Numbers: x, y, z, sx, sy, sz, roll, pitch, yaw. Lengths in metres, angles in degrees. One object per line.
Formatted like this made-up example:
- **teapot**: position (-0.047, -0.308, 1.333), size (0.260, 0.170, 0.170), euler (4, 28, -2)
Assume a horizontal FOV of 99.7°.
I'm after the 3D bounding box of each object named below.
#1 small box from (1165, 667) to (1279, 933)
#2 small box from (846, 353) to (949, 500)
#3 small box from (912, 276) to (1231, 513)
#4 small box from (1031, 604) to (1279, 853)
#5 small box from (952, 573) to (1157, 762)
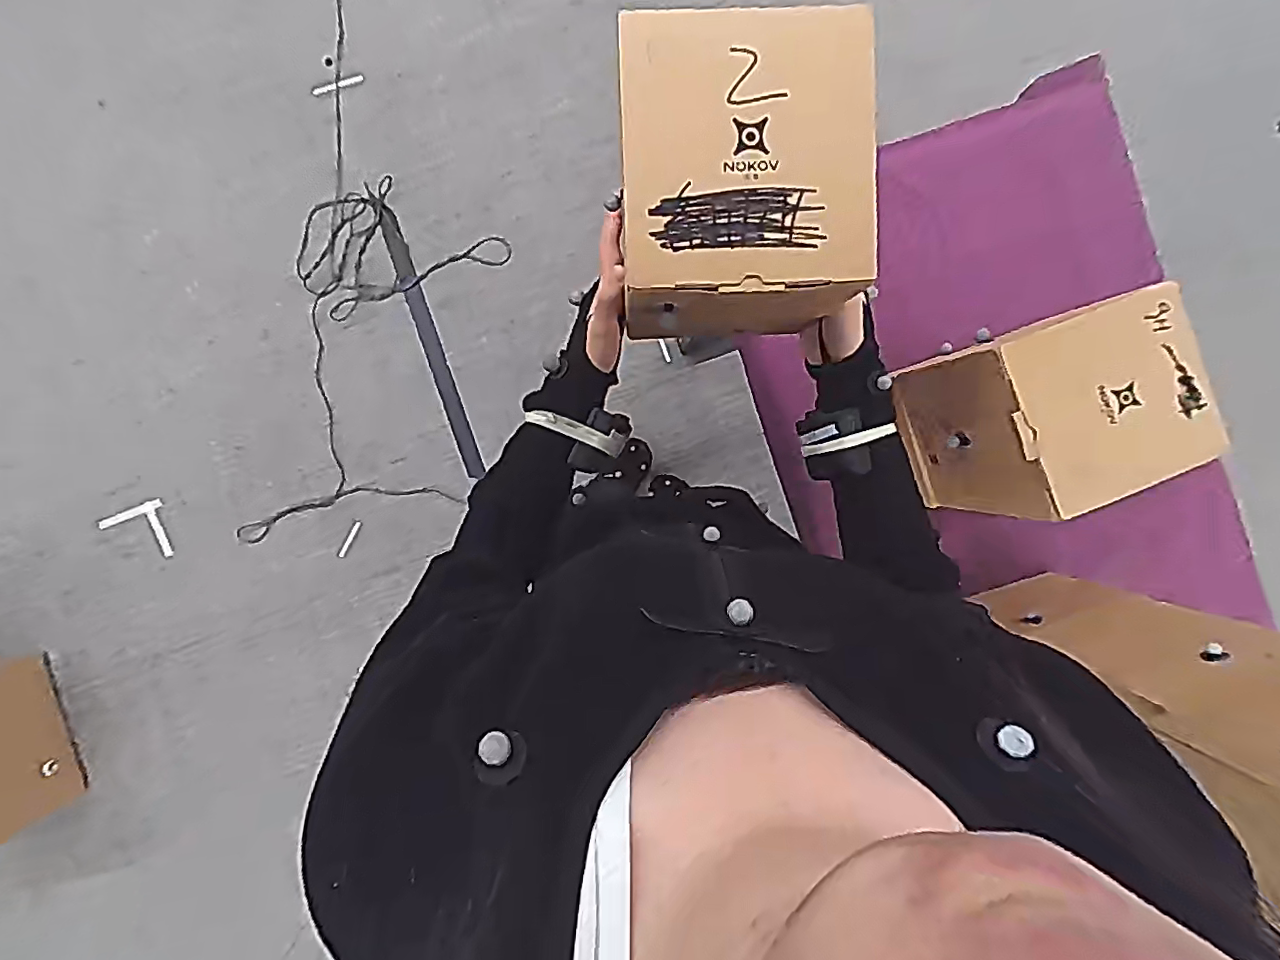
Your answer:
- **small box**: position (0.557, 0.260, 0.406), size (0.179, 0.176, 0.168), euler (-20, 93, -2)
- **small box**: position (0.396, -0.078, 0.715), size (0.179, 0.176, 0.168), euler (-18, 93, -3)
- **small box**: position (0.411, -0.076, 0.552), size (0.179, 0.176, 0.168), euler (-21, 93, -2)
- **small box**: position (0.569, 0.246, 0.568), size (0.179, 0.176, 0.168), euler (-17, 92, -2)
- **small box**: position (0.557, 0.239, 0.732), size (0.179, 0.176, 0.168), euler (-16, 93, -3)
